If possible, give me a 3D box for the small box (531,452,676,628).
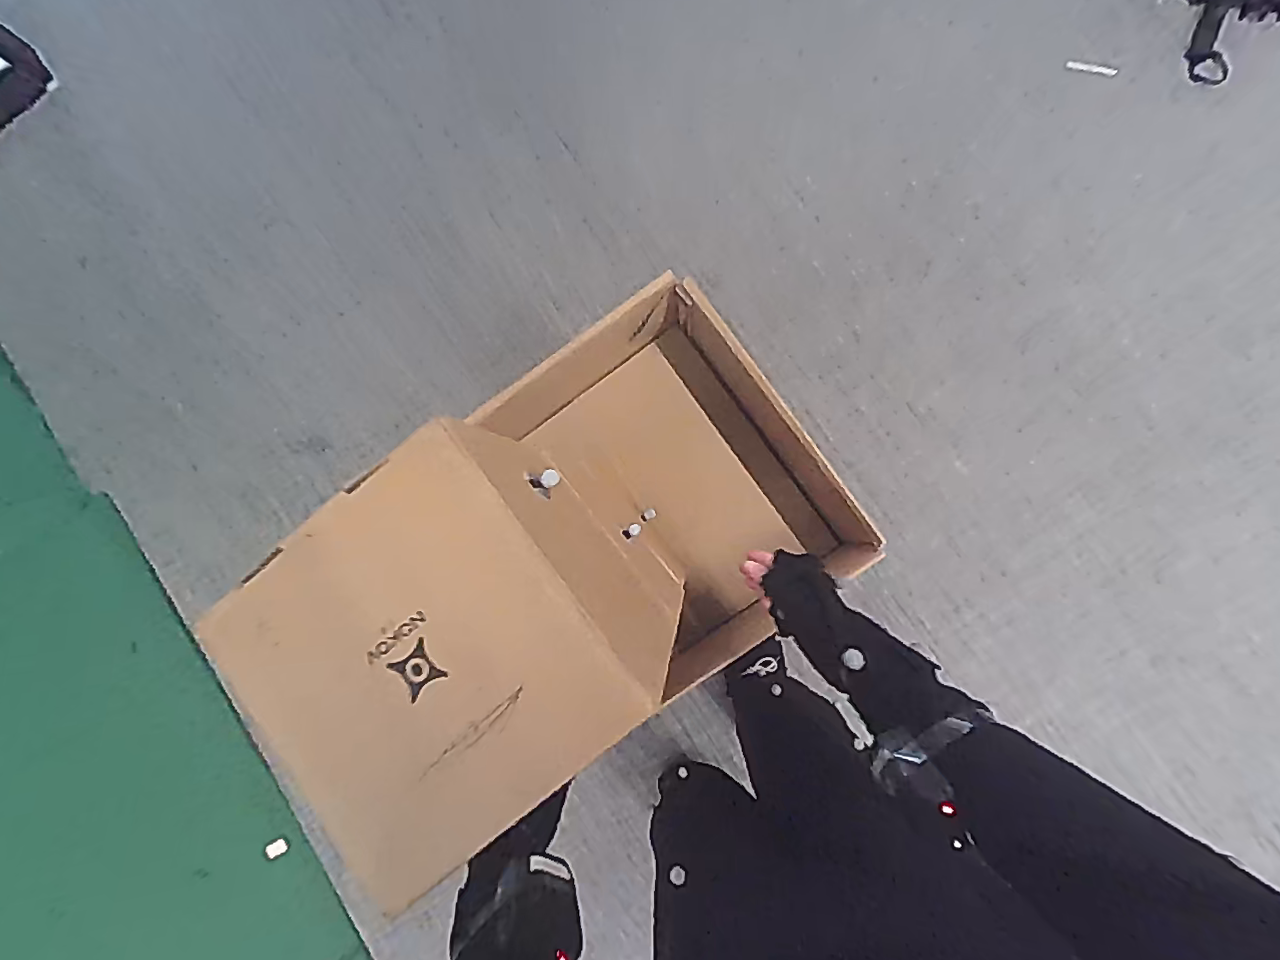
[{"bbox_3d":[-0.082,0.099,0.506,0.168,0.176,0.179,-39,84,3],"label":"small box"}]

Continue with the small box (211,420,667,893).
[{"bbox_3d":[-0.099,0.089,0.346,0.168,0.176,0.179,-40,84,4],"label":"small box"}]

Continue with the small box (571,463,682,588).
[{"bbox_3d":[-0.064,0.102,0.669,0.168,0.176,0.179,-41,83,4],"label":"small box"}]
